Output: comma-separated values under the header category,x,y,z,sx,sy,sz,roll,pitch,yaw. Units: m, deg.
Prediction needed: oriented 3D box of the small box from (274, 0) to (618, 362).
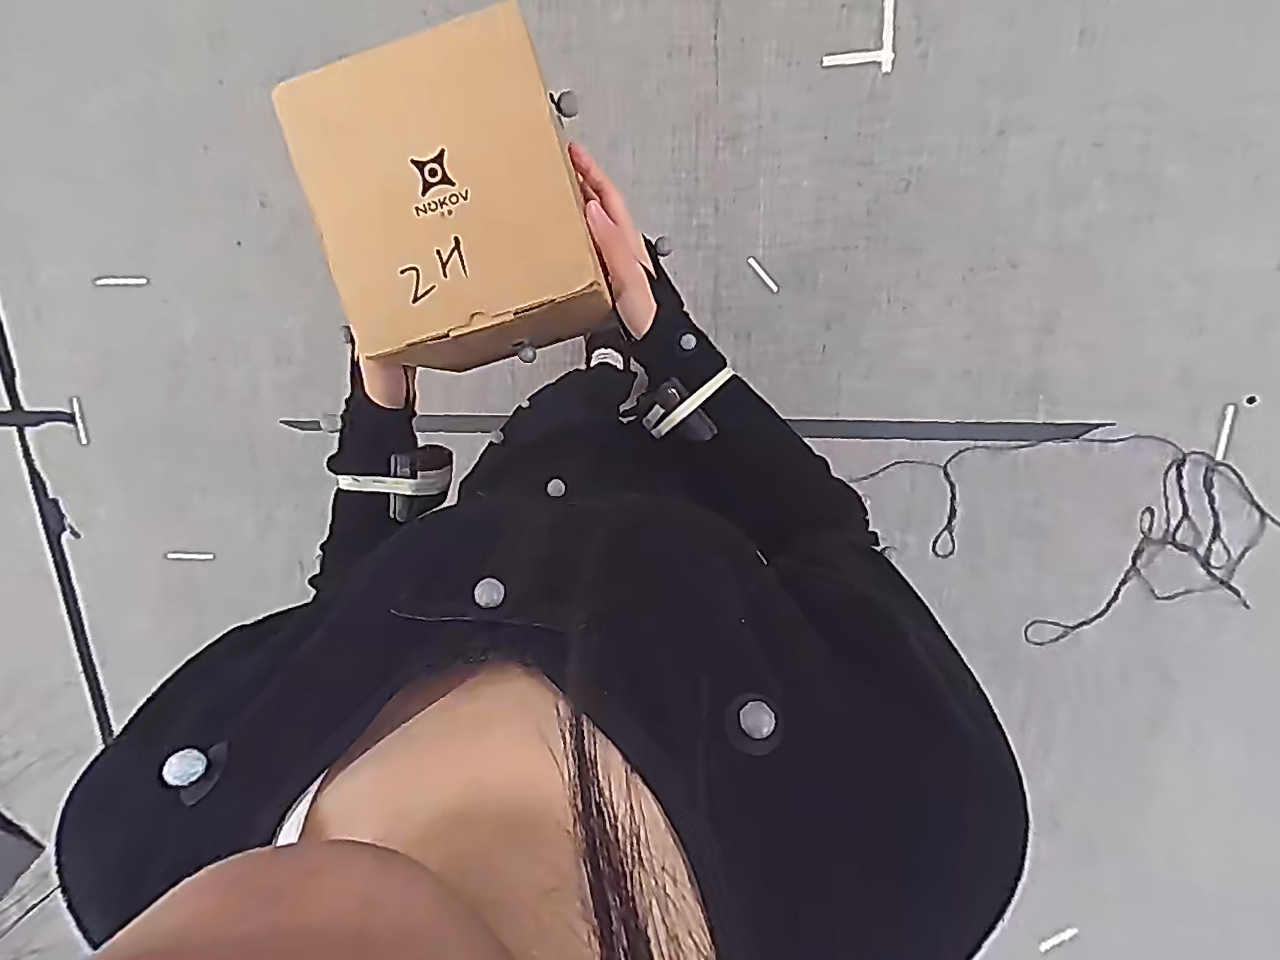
category,x,y,z,sx,sy,sz,roll,pitch,yaw
small box,-0.121,-0.200,0.414,0.168,0.176,0.179,-15,98,5
